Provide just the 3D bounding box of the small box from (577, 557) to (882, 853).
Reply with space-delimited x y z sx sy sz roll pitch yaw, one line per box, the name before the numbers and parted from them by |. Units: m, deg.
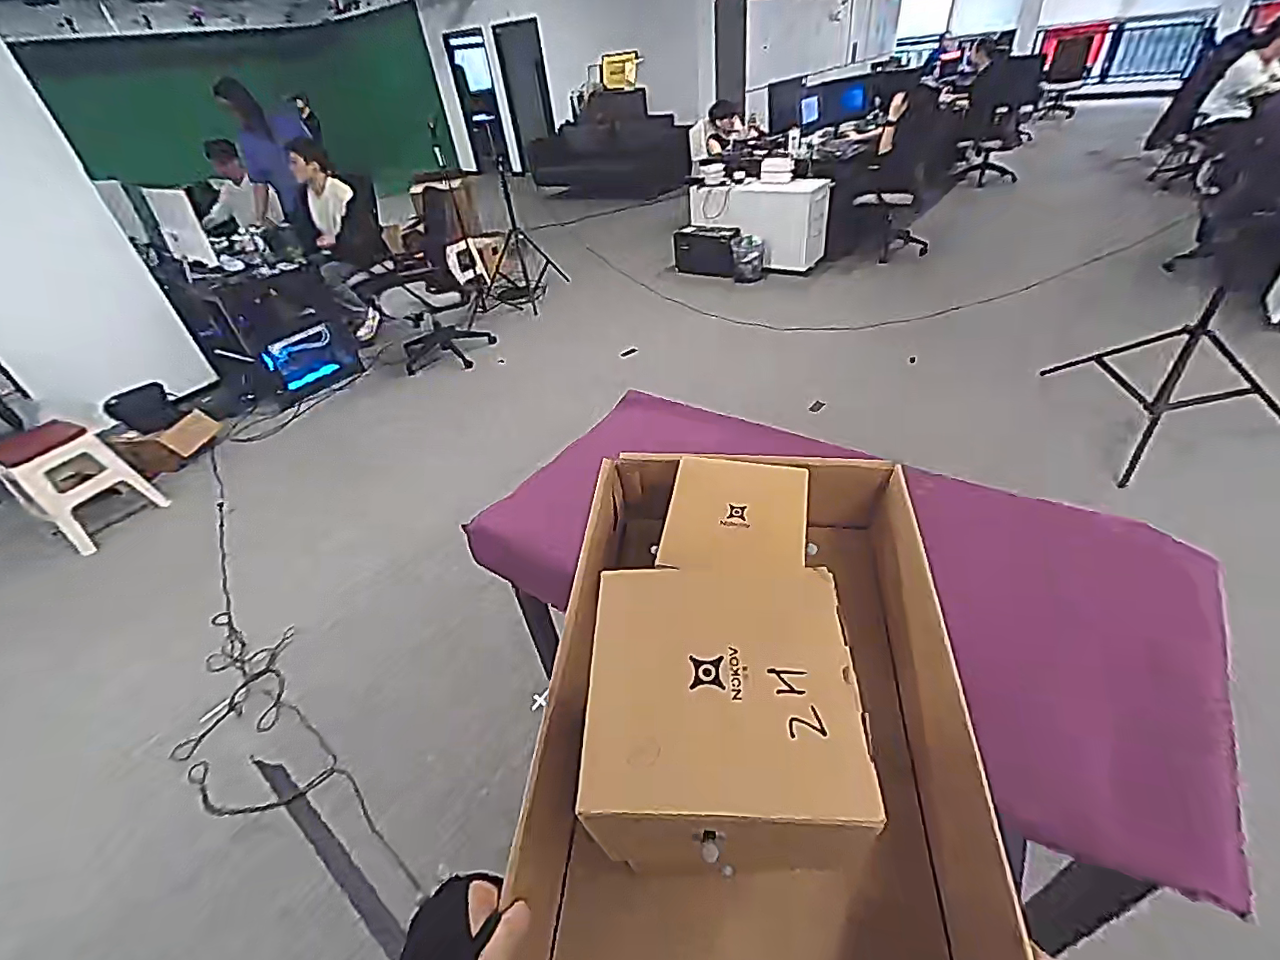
small box | 0.060 0.175 0.417 0.179 0.176 0.168 -1 48 5
